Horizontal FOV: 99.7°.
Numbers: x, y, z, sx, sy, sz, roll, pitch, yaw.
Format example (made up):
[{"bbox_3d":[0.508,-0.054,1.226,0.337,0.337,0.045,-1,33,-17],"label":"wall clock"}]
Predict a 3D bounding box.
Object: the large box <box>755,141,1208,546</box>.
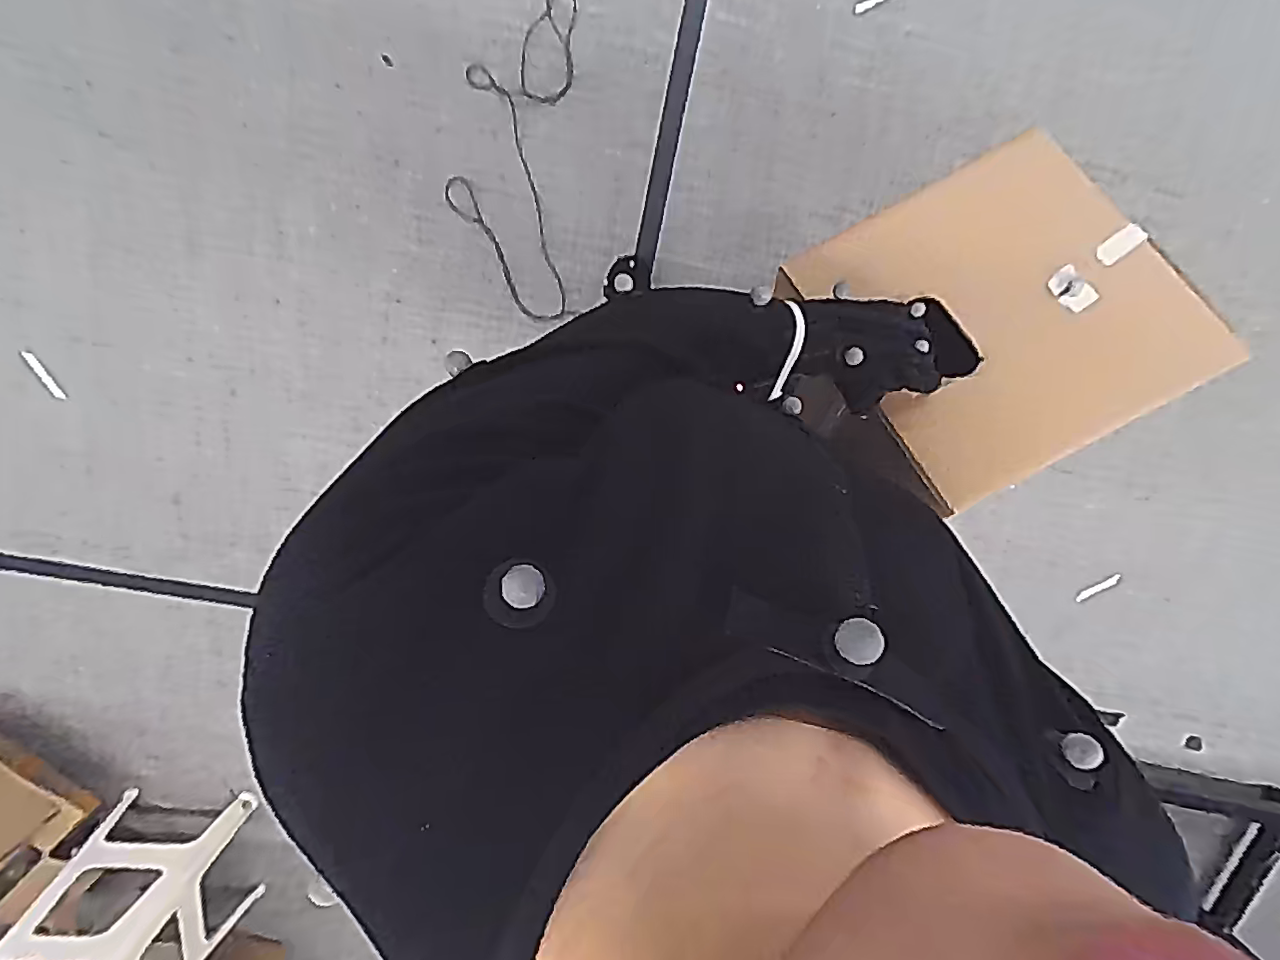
[{"bbox_3d":[0.374,-0.133,0.736,0.320,0.408,0.320,-27,75,3],"label":"large box"}]
